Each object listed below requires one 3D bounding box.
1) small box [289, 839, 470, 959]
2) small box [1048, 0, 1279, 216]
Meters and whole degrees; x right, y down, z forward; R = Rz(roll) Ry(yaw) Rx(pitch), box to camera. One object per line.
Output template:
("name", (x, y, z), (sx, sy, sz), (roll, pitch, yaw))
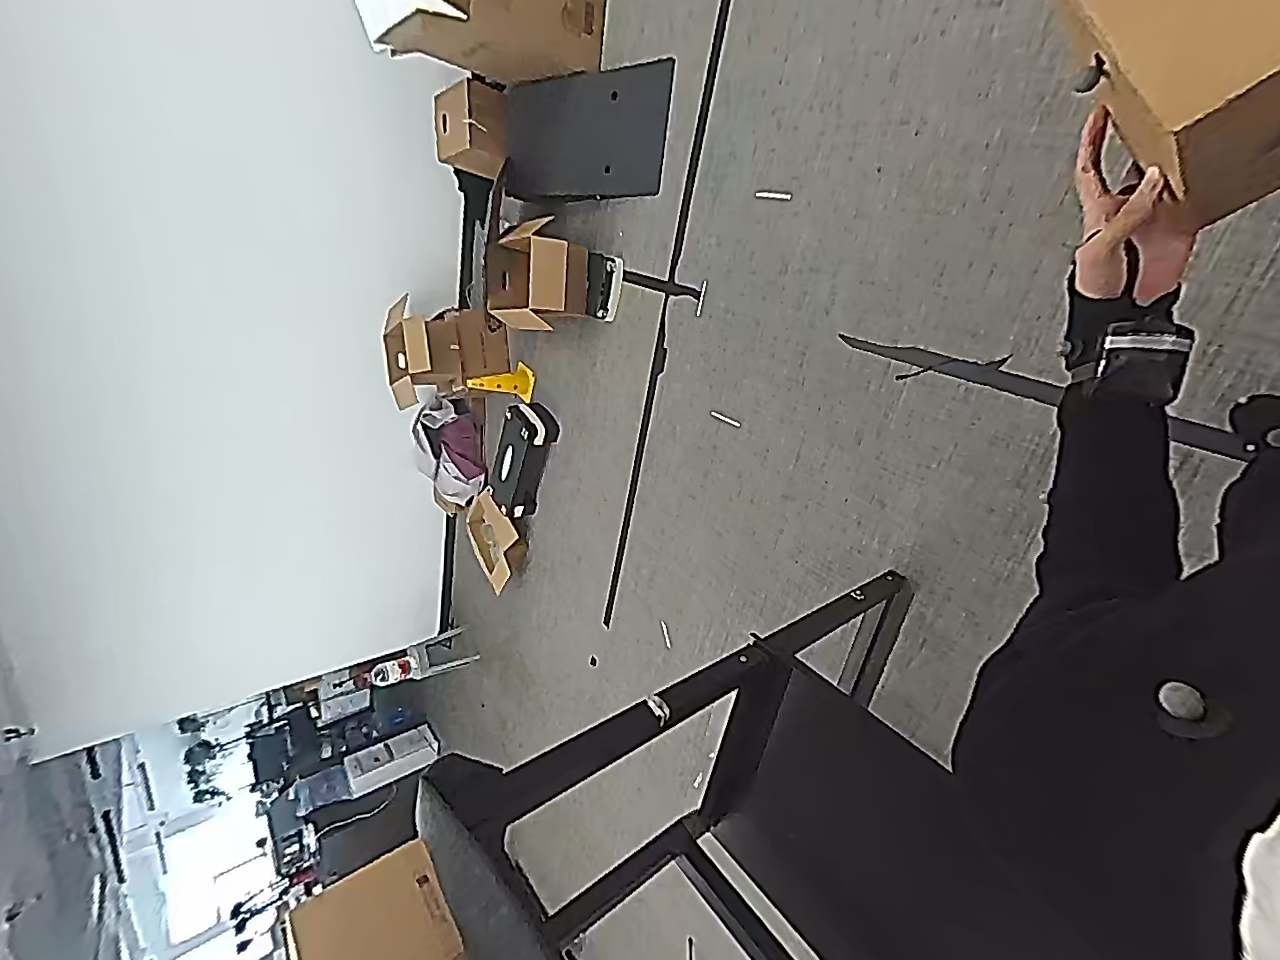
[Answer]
("small box", (-0.332, 0.626, 0.701), (0.168, 0.176, 0.179), (31, 121, 40))
("small box", (0.404, -0.302, 0.345), (0.168, 0.176, 0.179), (-31, 64, 42))
